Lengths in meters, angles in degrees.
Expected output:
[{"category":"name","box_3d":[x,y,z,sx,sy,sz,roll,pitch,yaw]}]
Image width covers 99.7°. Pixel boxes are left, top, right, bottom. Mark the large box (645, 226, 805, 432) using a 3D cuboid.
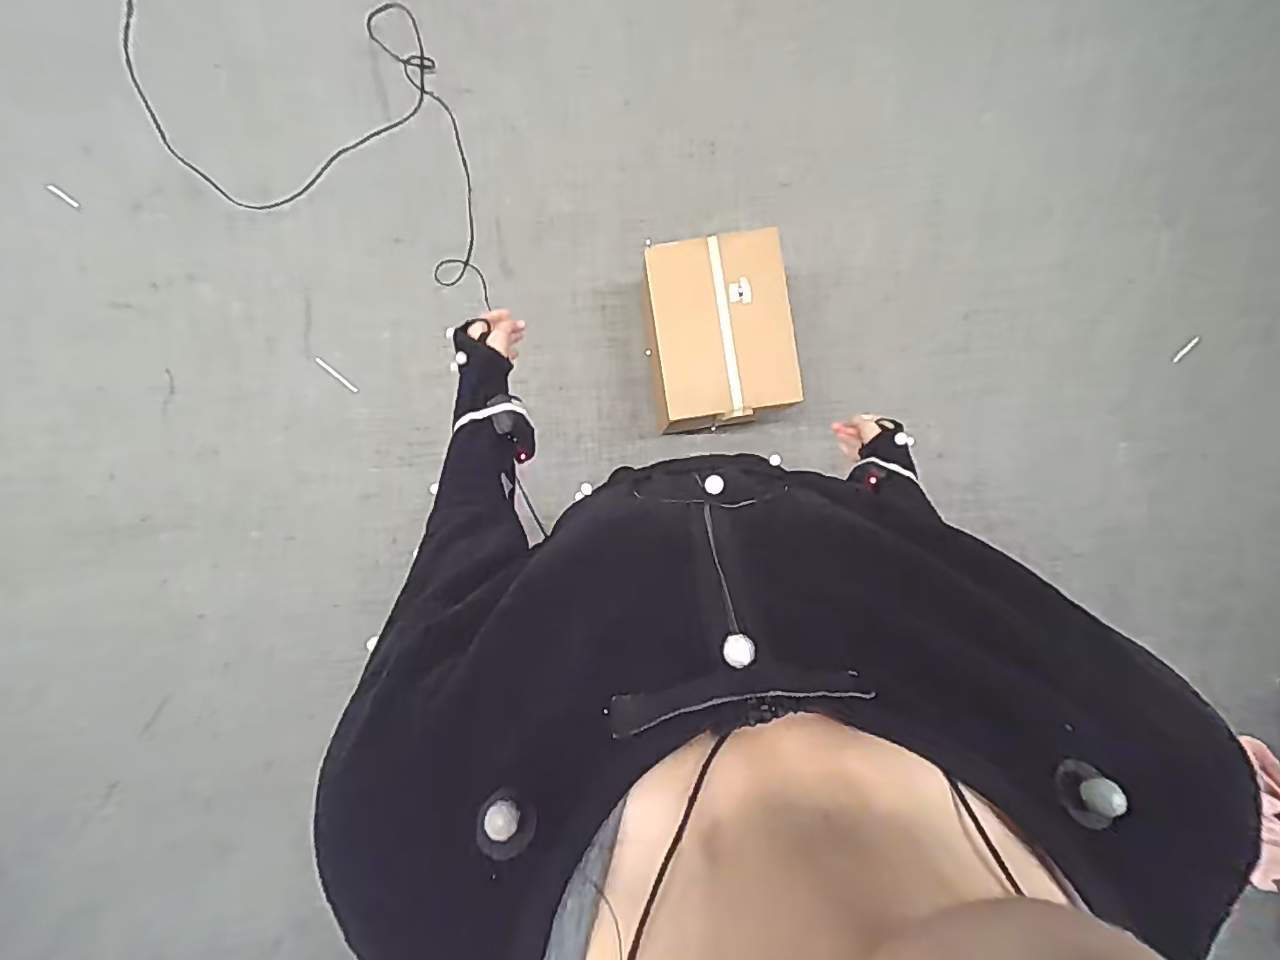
[{"category":"large box","box_3d":[0.192,-0.356,1.374,0.320,0.320,0.408,-8,88,-1]}]
